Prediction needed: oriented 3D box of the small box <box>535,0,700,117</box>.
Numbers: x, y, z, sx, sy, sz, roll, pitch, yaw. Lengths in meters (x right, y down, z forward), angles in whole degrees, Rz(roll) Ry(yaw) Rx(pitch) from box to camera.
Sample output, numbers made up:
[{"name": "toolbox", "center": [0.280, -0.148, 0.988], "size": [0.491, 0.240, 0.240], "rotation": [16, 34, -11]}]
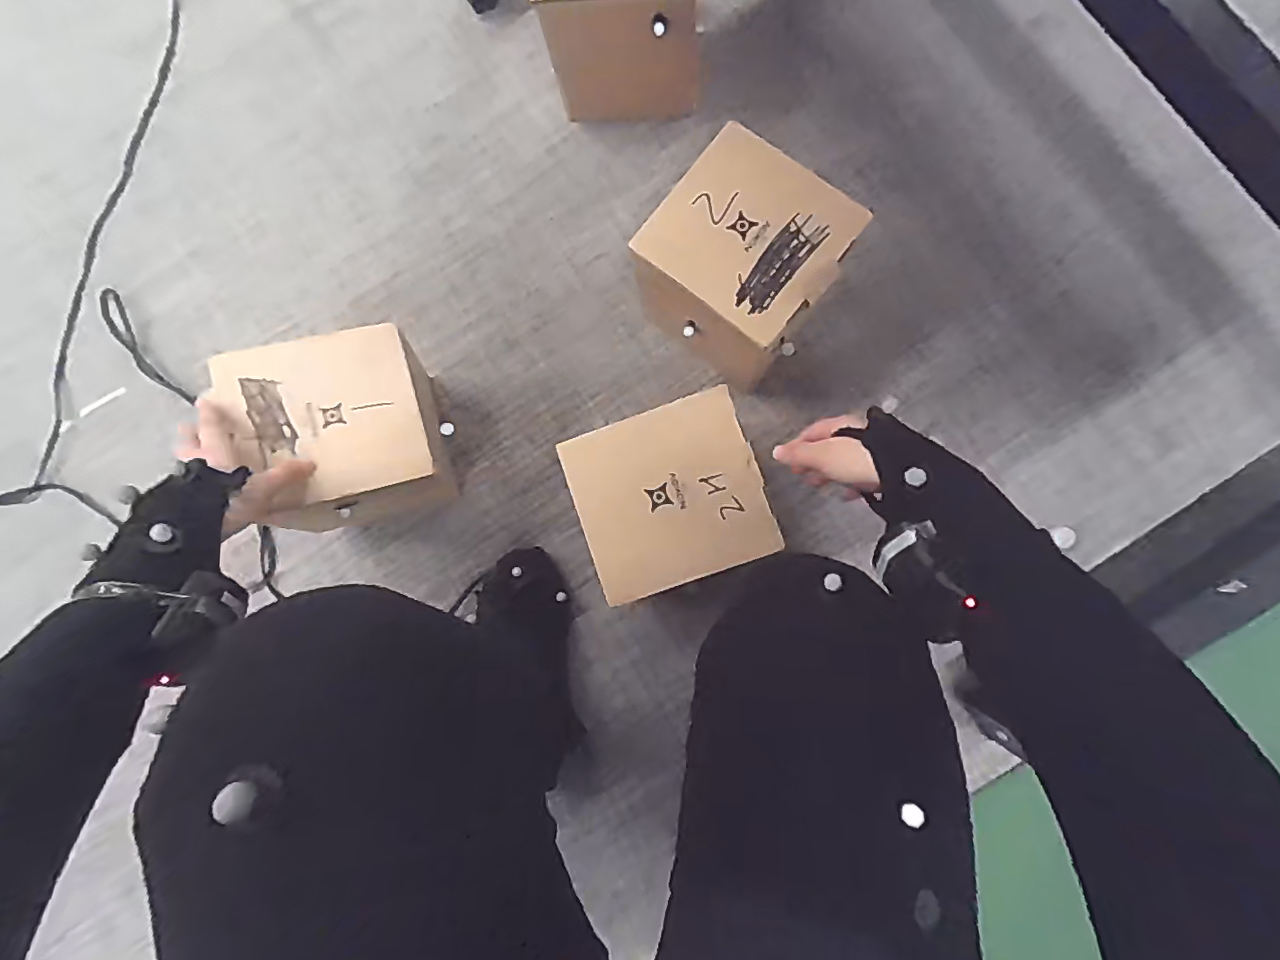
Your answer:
[{"name": "small box", "center": [-0.017, -0.571, 0.647], "size": [0.179, 0.176, 0.168], "rotation": [0, 84, 4]}]
